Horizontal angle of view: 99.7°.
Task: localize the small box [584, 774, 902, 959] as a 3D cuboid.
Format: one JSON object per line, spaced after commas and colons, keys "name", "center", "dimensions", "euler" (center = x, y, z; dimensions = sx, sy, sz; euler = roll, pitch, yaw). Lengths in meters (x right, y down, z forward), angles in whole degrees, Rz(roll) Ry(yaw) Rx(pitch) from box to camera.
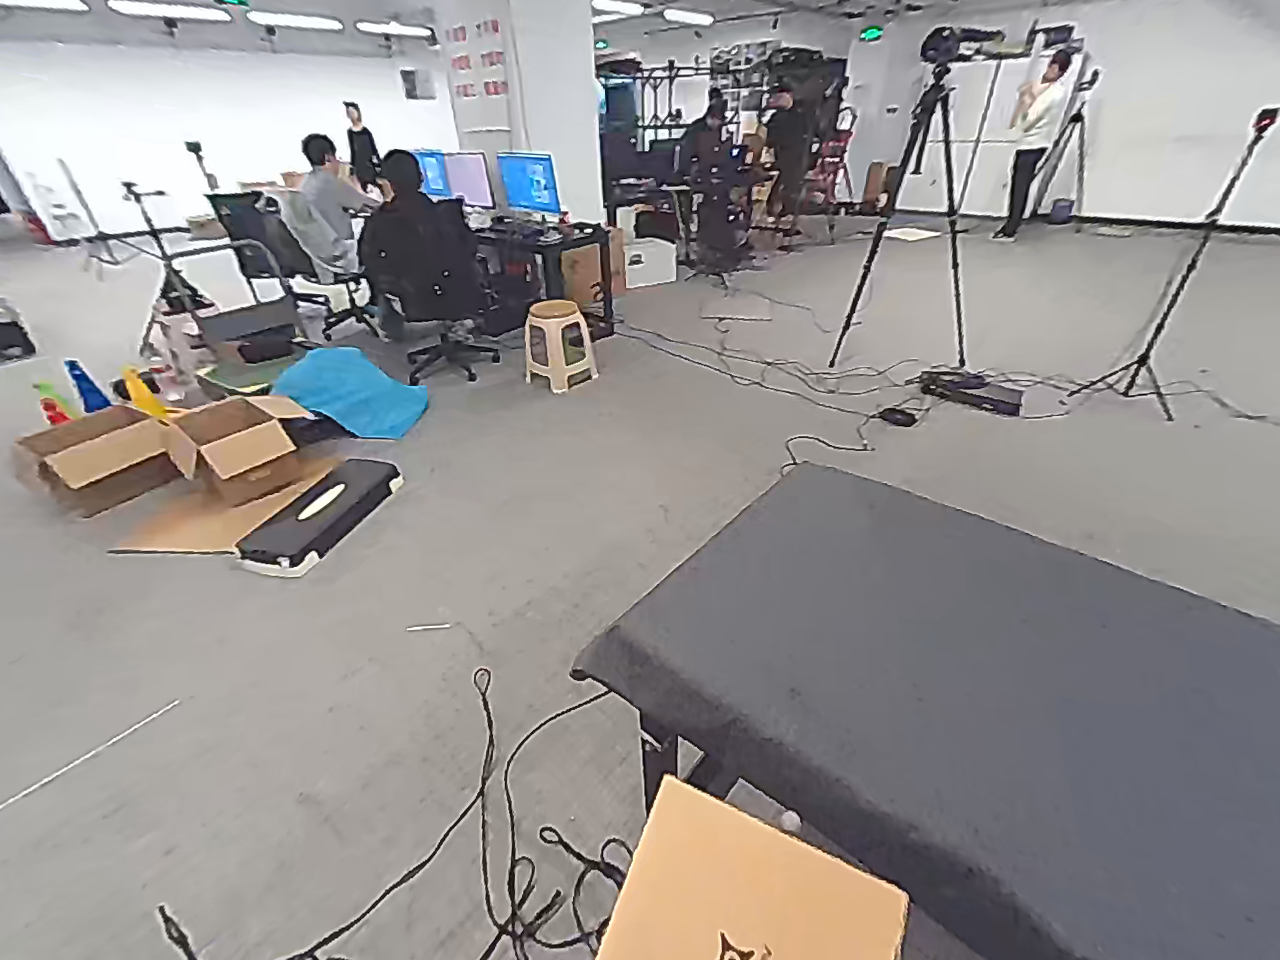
{"name": "small box", "center": [0.072, 0.354, 0.402], "dimensions": [0.179, 0.176, 0.168], "euler": [15, 59, 23]}
